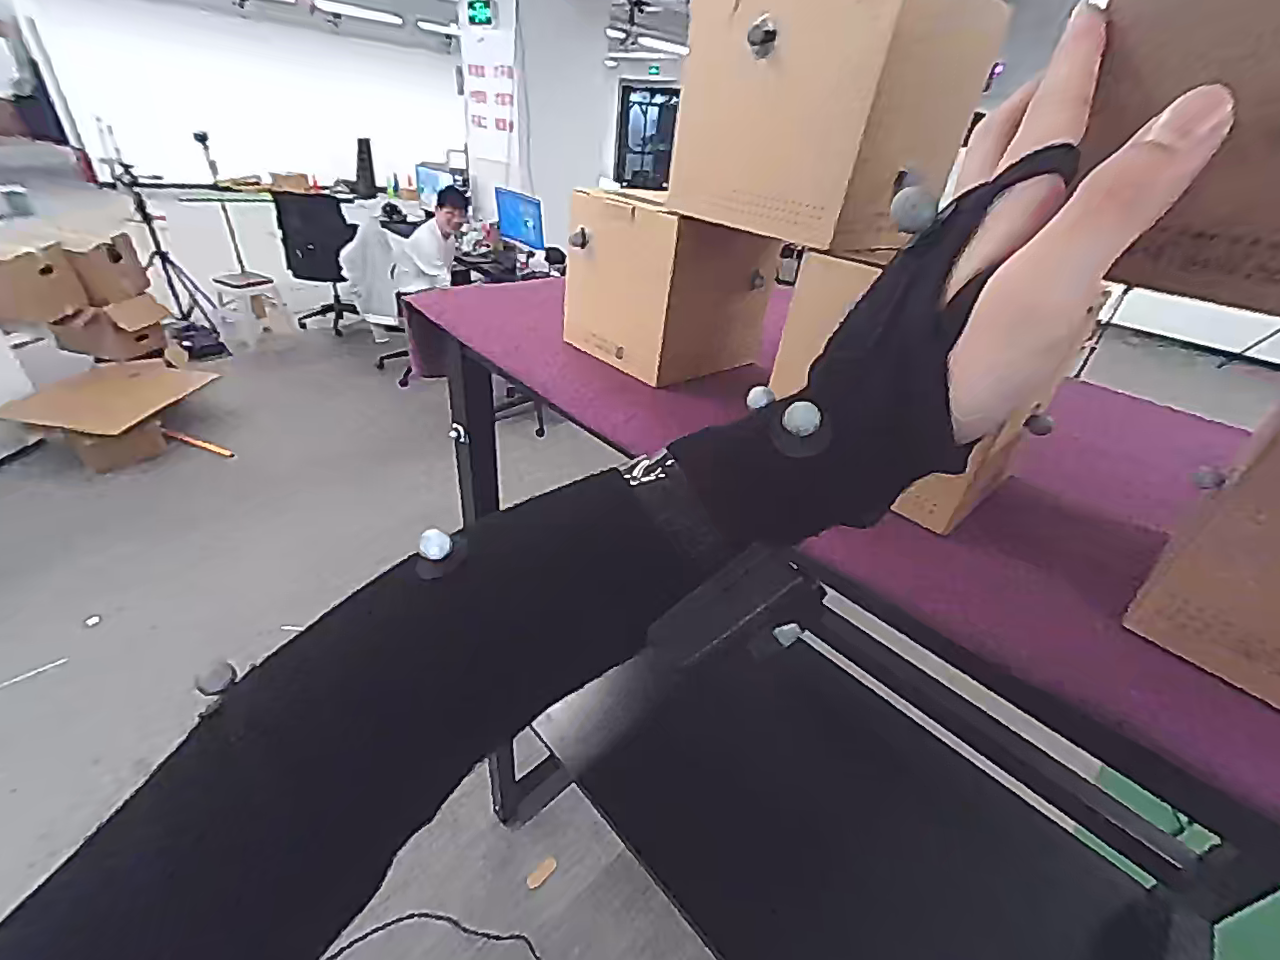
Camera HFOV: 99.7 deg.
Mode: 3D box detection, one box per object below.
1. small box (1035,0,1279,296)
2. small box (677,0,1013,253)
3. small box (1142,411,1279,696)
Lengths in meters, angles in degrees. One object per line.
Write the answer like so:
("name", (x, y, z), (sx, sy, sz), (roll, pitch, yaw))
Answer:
("small box", (0.273, -0.175, 0.181), (0.168, 0.176, 0.179), (31, 63, 31))
("small box", (0.151, -0.294, 0.445), (0.168, 0.176, 0.179), (-21, 42, -37))
("small box", (0.423, 0.037, 0.287), (0.179, 0.176, 0.168), (-18, 40, -36))
